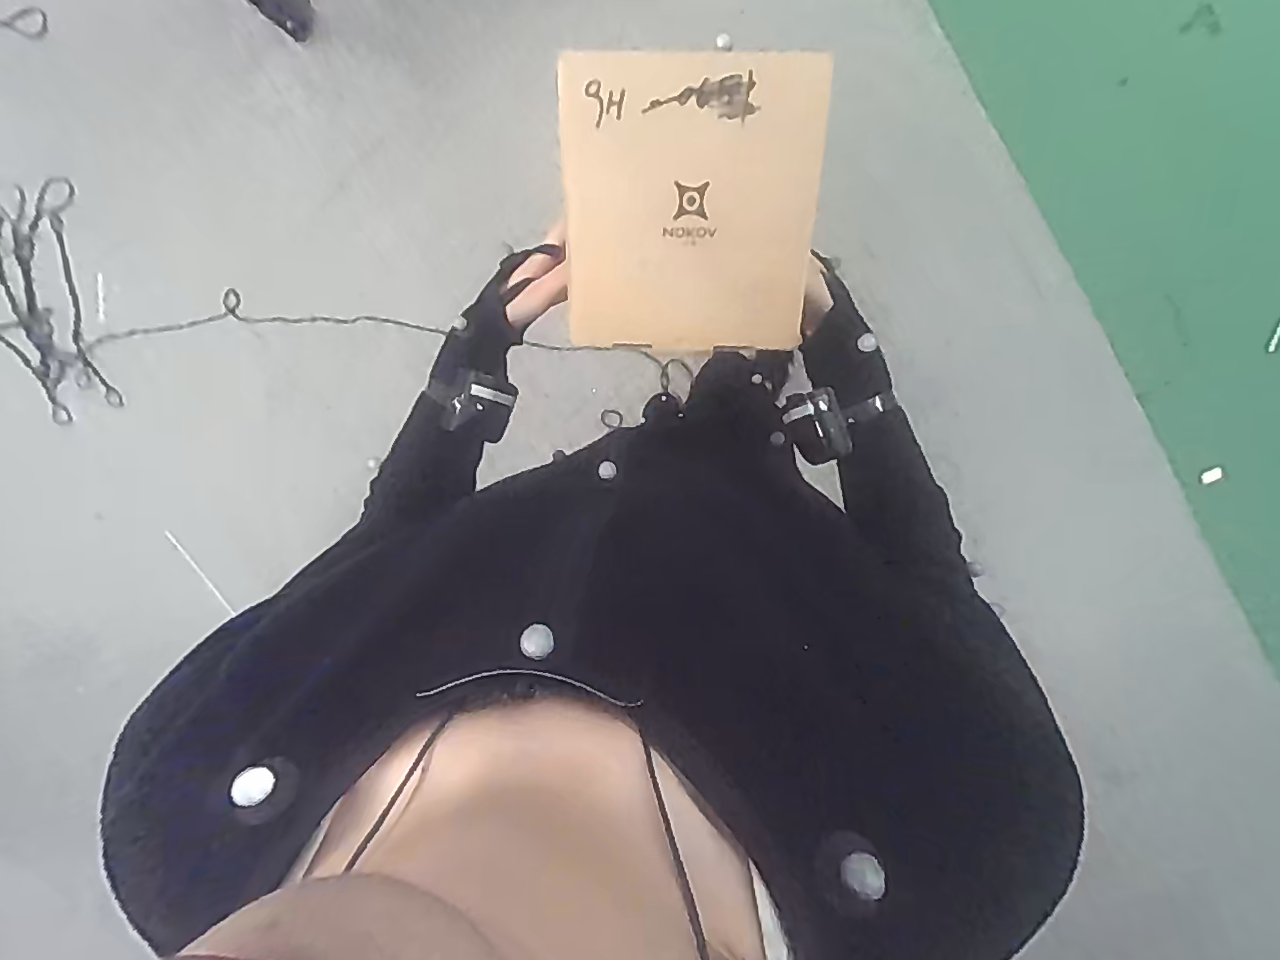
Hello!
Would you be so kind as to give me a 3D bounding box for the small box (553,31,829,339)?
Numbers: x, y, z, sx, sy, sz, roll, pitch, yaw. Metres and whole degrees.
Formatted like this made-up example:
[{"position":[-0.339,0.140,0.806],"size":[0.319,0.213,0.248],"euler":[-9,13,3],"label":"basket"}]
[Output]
[{"position":[0.029,-0.217,0.424],"size":[0.168,0.176,0.179],"euler":[1,116,0],"label":"small box"}]
